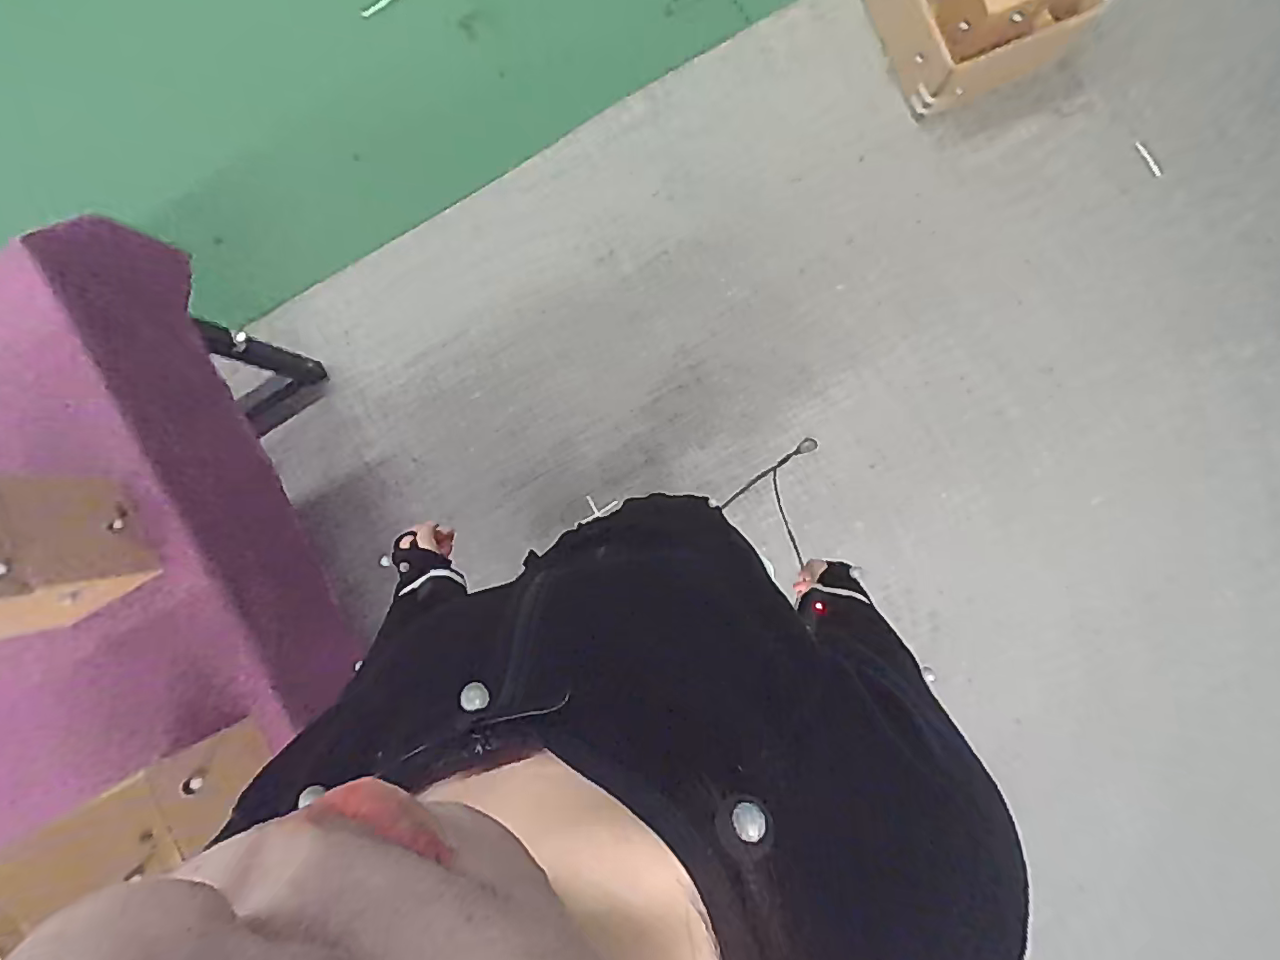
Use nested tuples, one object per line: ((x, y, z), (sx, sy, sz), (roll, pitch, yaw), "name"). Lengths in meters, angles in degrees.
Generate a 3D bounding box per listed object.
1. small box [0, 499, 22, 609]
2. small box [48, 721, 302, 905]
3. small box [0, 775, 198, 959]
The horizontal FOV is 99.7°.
((-0.859, 0.097, 0.599), (0.179, 0.176, 0.168), (-27, 86, 5), "small box")
((-0.611, 0.455, 0.730), (0.168, 0.176, 0.179), (-30, 86, 4), "small box")
((-0.634, 0.456, 0.568), (0.179, 0.176, 0.168), (-29, 85, 3), "small box")
